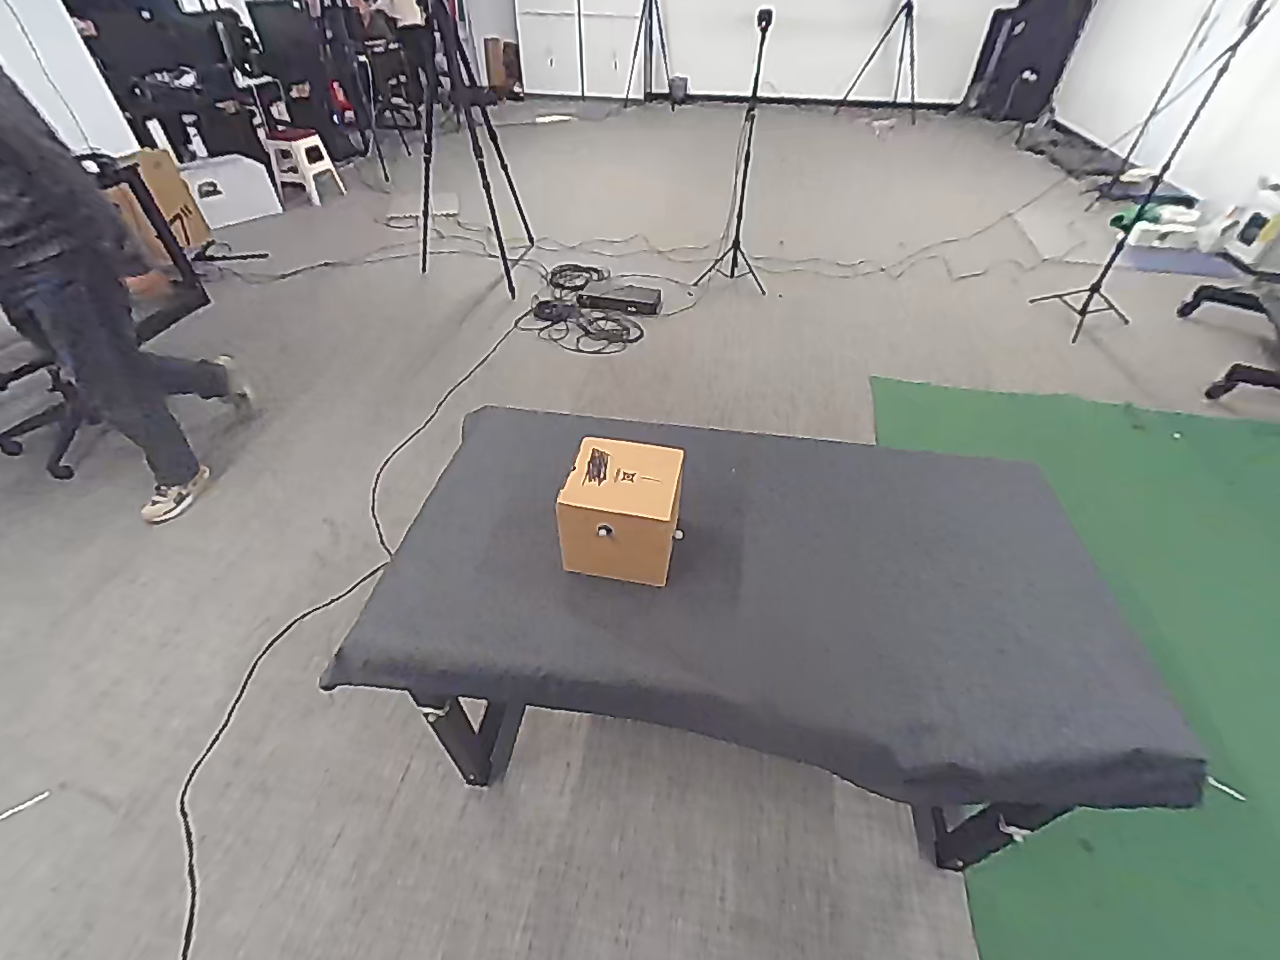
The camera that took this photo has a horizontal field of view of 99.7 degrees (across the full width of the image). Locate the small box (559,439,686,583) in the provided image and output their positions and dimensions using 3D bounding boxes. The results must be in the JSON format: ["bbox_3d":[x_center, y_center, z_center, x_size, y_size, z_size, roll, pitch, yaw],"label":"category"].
[{"bbox_3d":[-0.025,0.054,0.916,0.179,0.176,0.168,9,44,7],"label":"small box"}]
